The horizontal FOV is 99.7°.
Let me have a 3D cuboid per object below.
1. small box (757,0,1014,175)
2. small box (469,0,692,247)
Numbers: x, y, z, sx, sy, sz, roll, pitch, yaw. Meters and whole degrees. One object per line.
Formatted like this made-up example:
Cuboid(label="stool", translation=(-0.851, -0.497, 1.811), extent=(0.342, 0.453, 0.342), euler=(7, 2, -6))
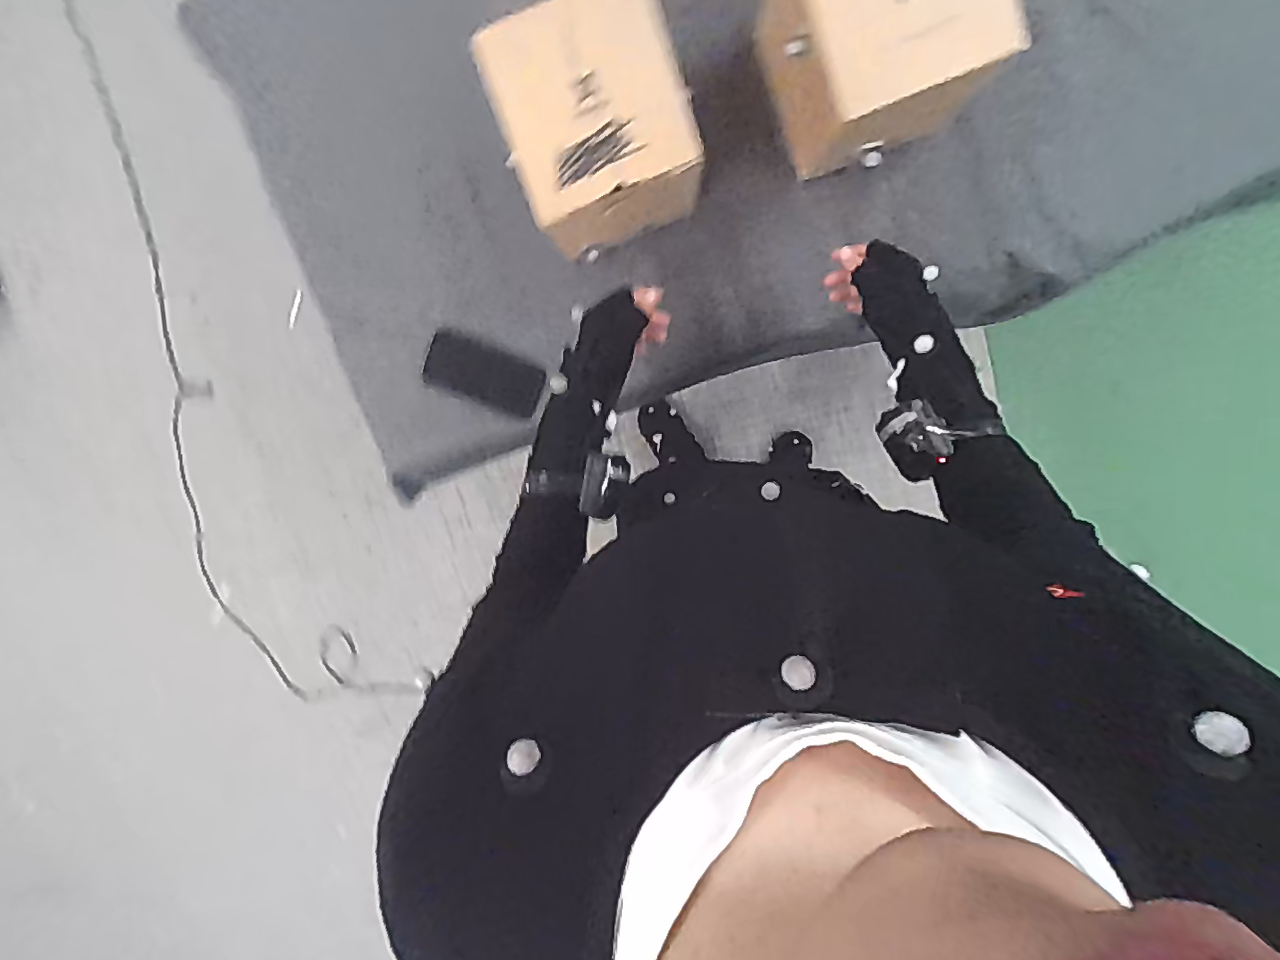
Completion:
Cuboid(label="small box", translation=(0.231, -0.455, 0.554), extent=(0.168, 0.176, 0.179), euler=(-20, 100, 7))
Cuboid(label="small box", translation=(-0.049, -0.369, 0.578), extent=(0.168, 0.176, 0.179), euler=(-20, 98, 5))
